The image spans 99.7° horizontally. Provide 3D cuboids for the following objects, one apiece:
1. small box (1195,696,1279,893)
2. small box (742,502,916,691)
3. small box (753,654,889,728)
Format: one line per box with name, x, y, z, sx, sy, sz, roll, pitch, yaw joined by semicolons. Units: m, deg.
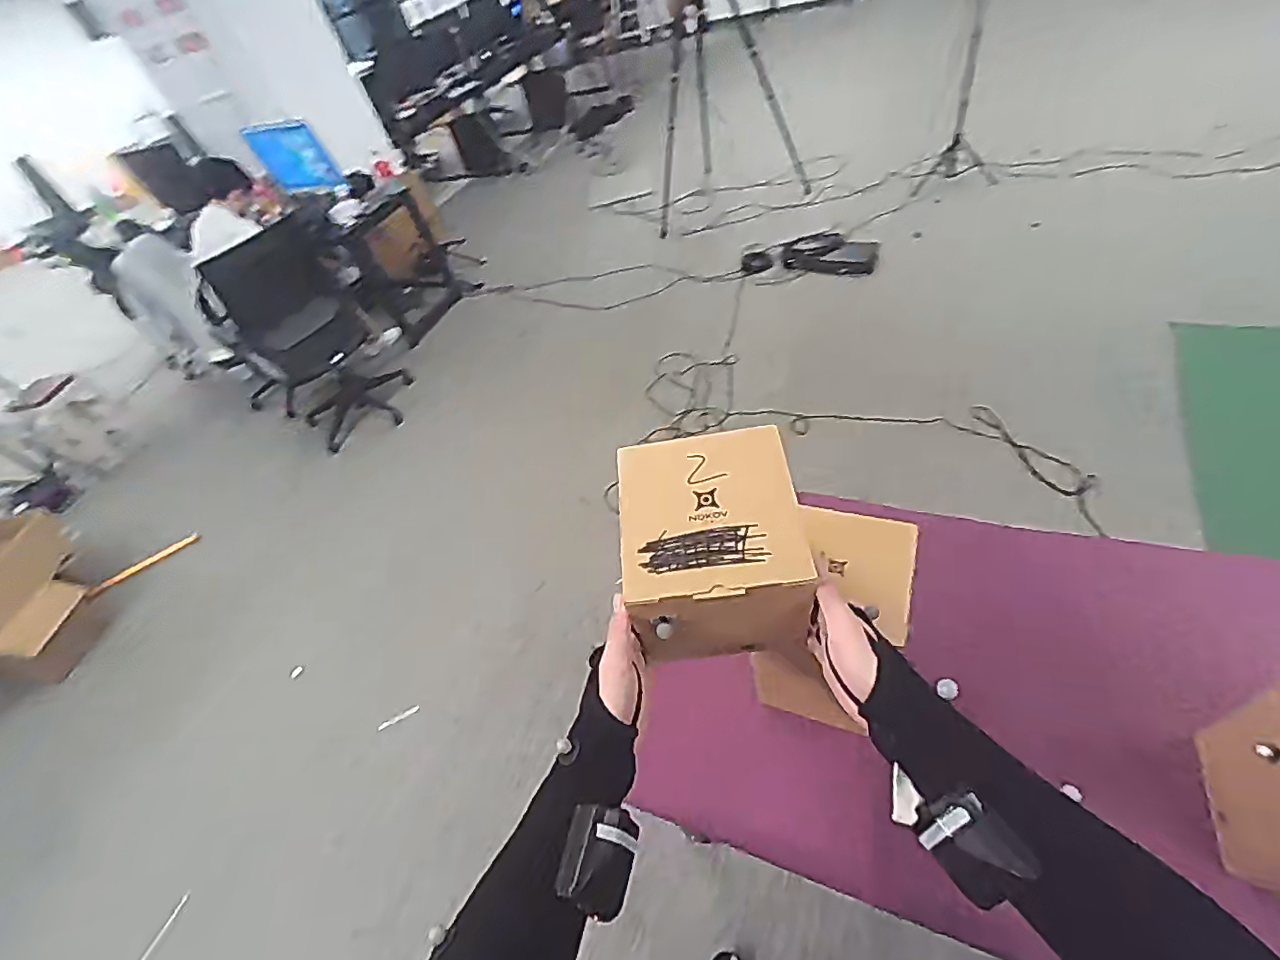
small box;0.771;0.364;0.585;0.179;0.176;0.168;9;53;24
small box;0.247;0.156;0.709;0.179;0.176;0.168;10;54;25
small box;0.284;0.257;0.830;0.179;0.176;0.168;10;53;24
